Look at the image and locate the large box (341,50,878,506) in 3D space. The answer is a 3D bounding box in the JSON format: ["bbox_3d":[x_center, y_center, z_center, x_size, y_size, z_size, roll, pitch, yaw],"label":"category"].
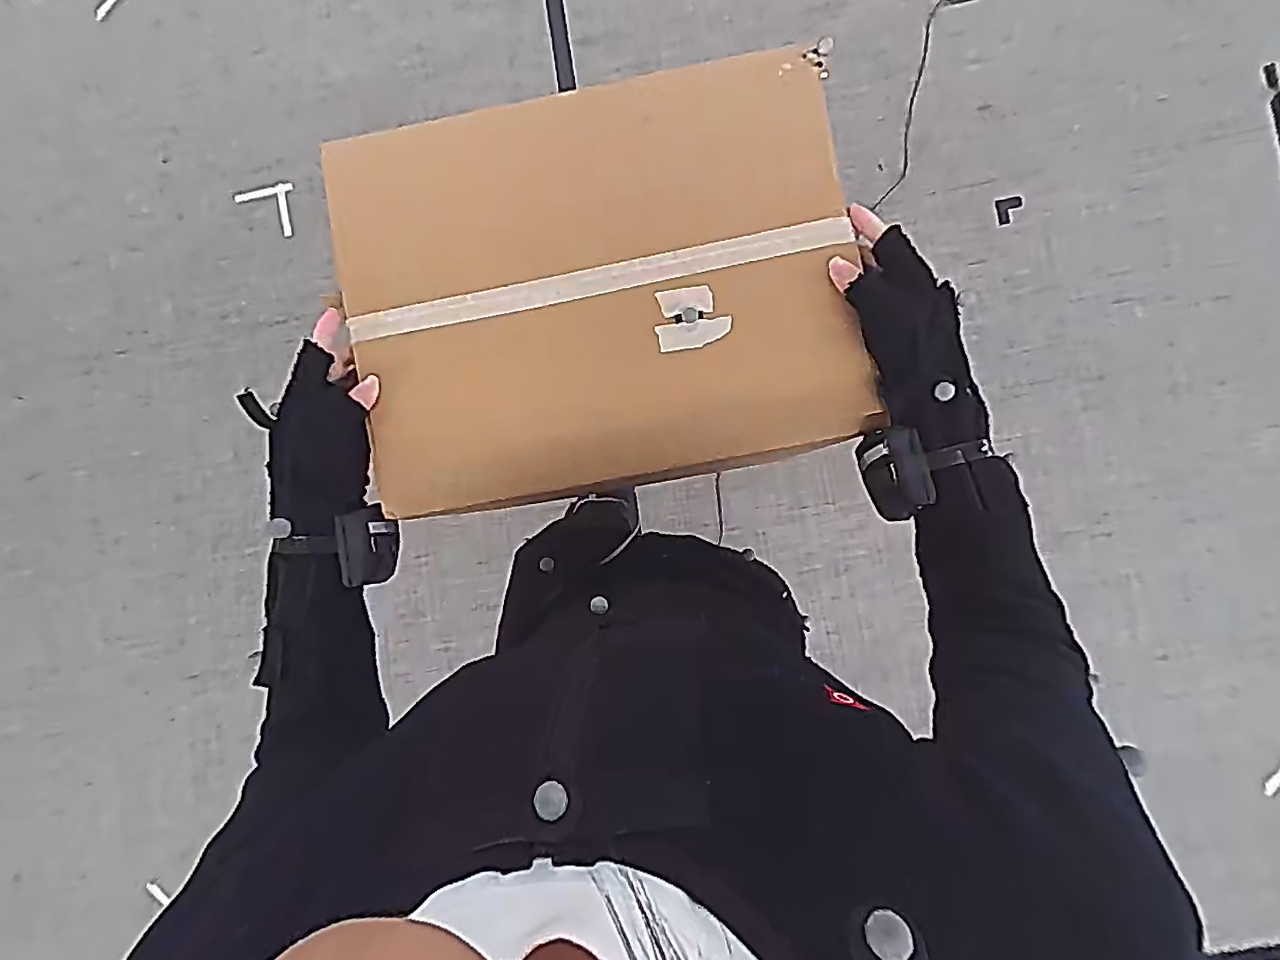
[{"bbox_3d":[-0.027,-0.161,0.591,0.408,0.320,0.320,-11,89,1],"label":"large box"}]
